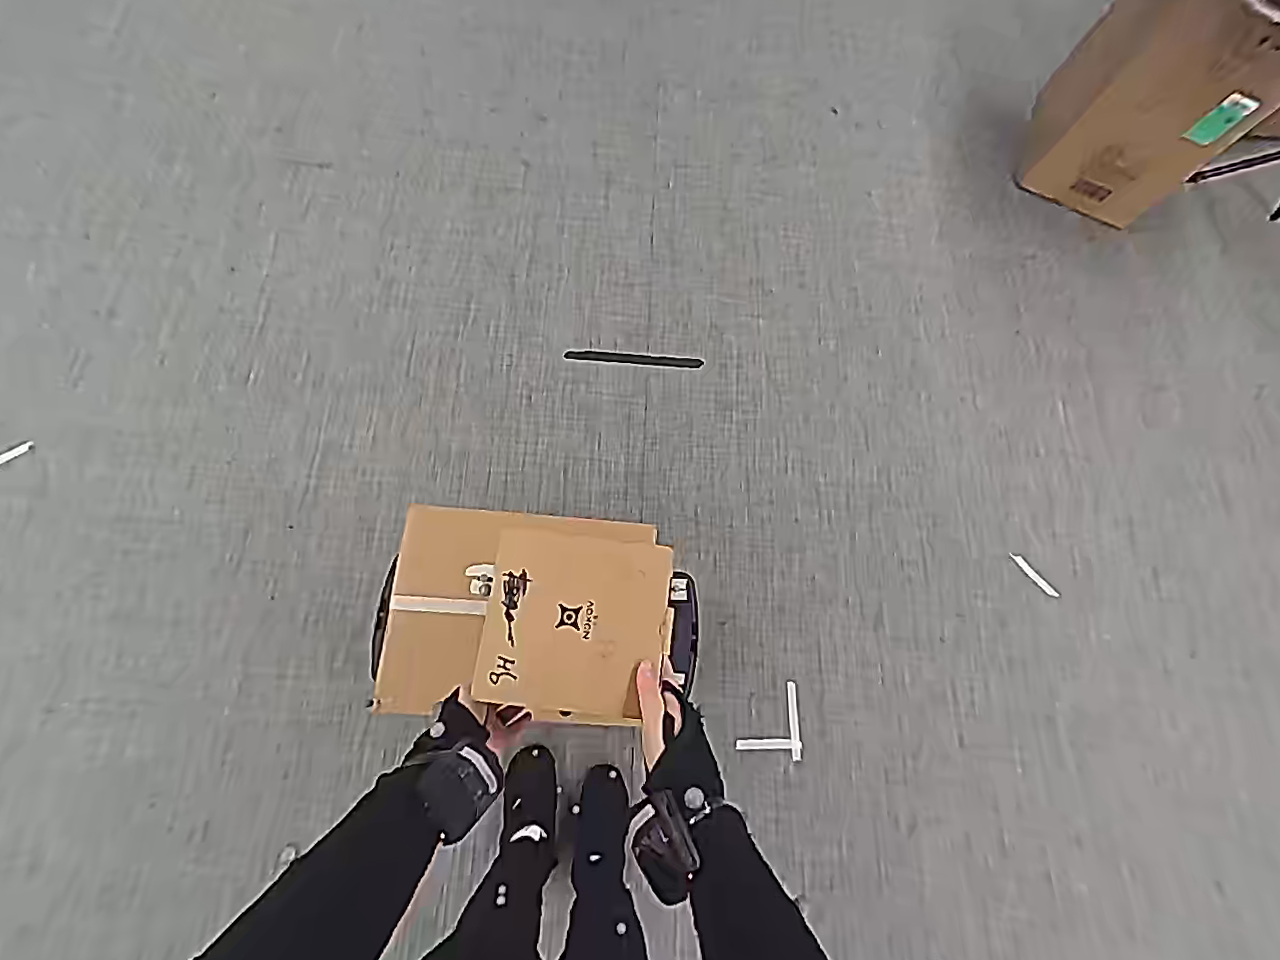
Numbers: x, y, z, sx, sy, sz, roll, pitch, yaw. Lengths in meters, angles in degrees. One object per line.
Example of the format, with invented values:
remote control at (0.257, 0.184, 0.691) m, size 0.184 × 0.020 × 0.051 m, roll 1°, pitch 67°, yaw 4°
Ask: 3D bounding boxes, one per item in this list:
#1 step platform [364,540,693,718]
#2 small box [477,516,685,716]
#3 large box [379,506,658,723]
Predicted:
step platform at (-0.224, 0.326, 1.197) m, size 0.684 × 0.204 × 0.286 m, roll 10°, pitch 73°, yaw -2°
small box at (-0.060, 0.149, 0.587) m, size 0.179 × 0.176 × 0.168 m, roll 9°, pitch 71°, yaw -4°
large box at (-0.183, 0.243, 0.976) m, size 0.408 × 0.320 × 0.320 m, roll 5°, pitch 72°, yaw -3°
